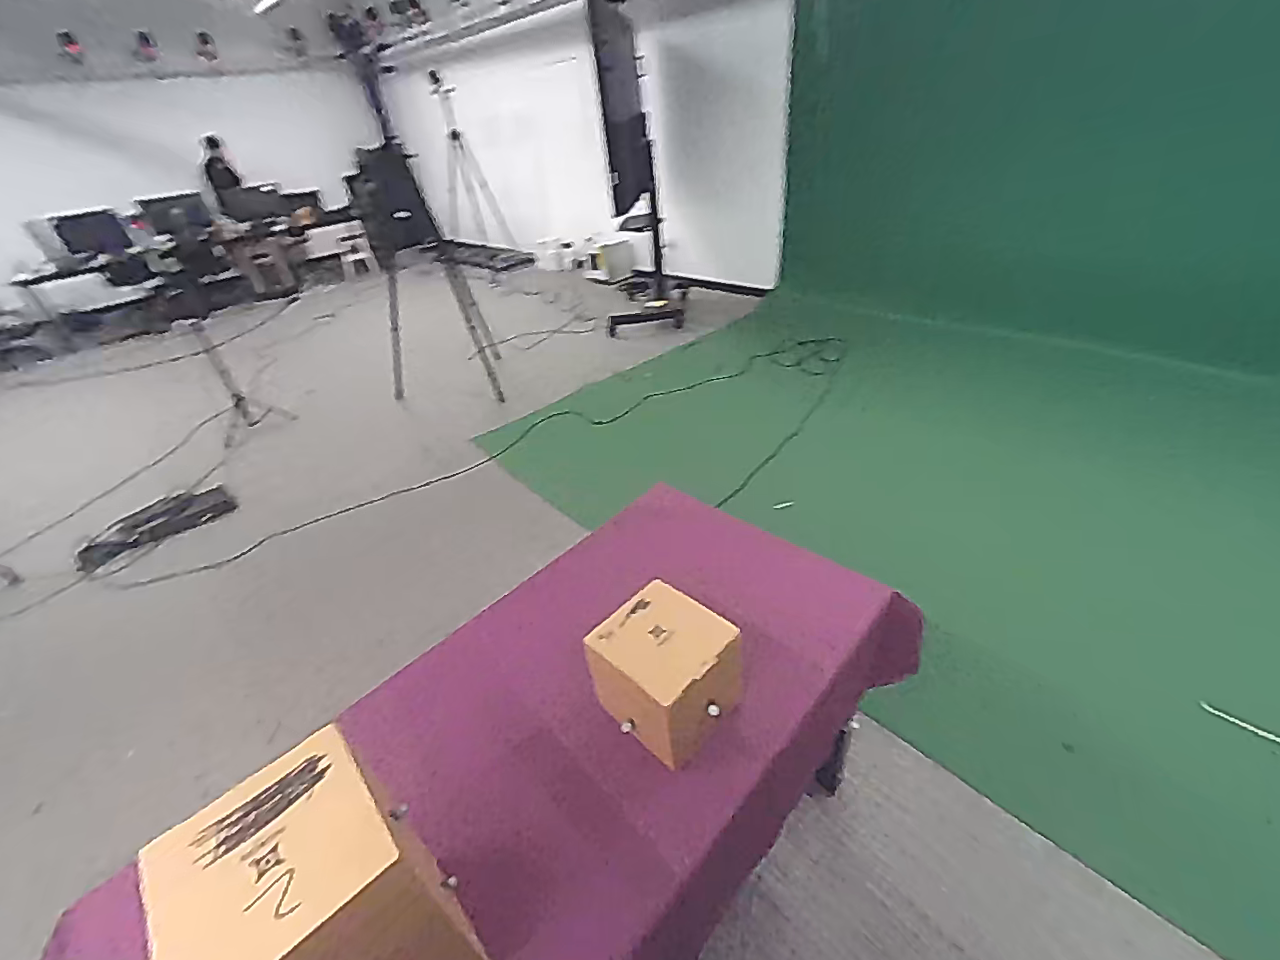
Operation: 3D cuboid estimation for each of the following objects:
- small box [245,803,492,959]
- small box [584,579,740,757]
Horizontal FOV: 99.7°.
[{"bbox_3d":[-0.286,0.515,0.592,0.168,0.176,0.179,-32,43,-32],"label":"small box"},{"bbox_3d":[0.039,0.297,0.846,0.179,0.176,0.168,27,47,38],"label":"small box"}]
